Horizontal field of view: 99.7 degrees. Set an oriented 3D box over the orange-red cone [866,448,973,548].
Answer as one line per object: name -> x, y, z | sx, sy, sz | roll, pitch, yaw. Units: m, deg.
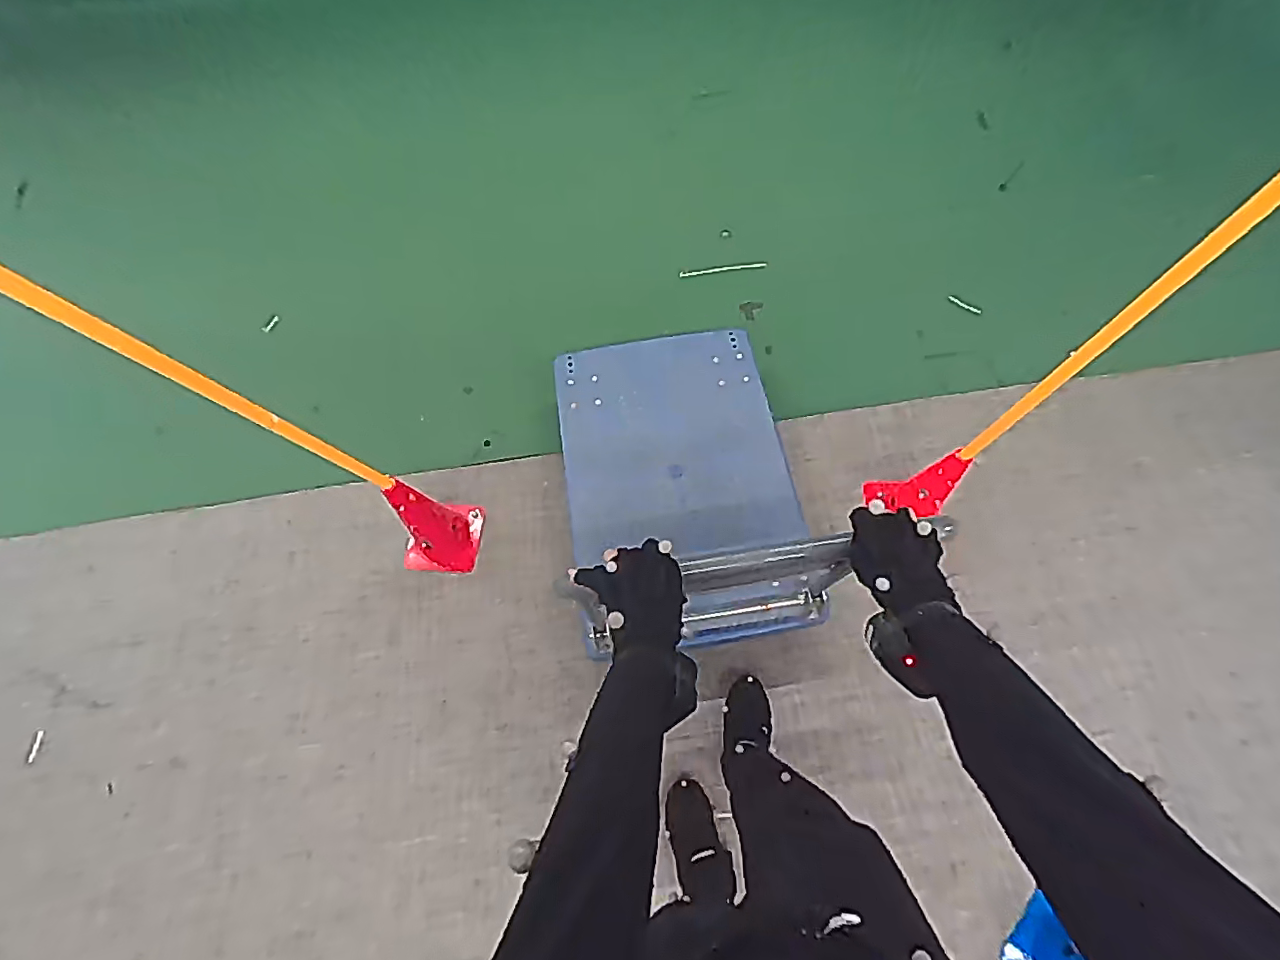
orange-red cone -> 0.732, 0.023, 1.358 | 0.198, 0.360, 0.199 | 2, 65, 4
